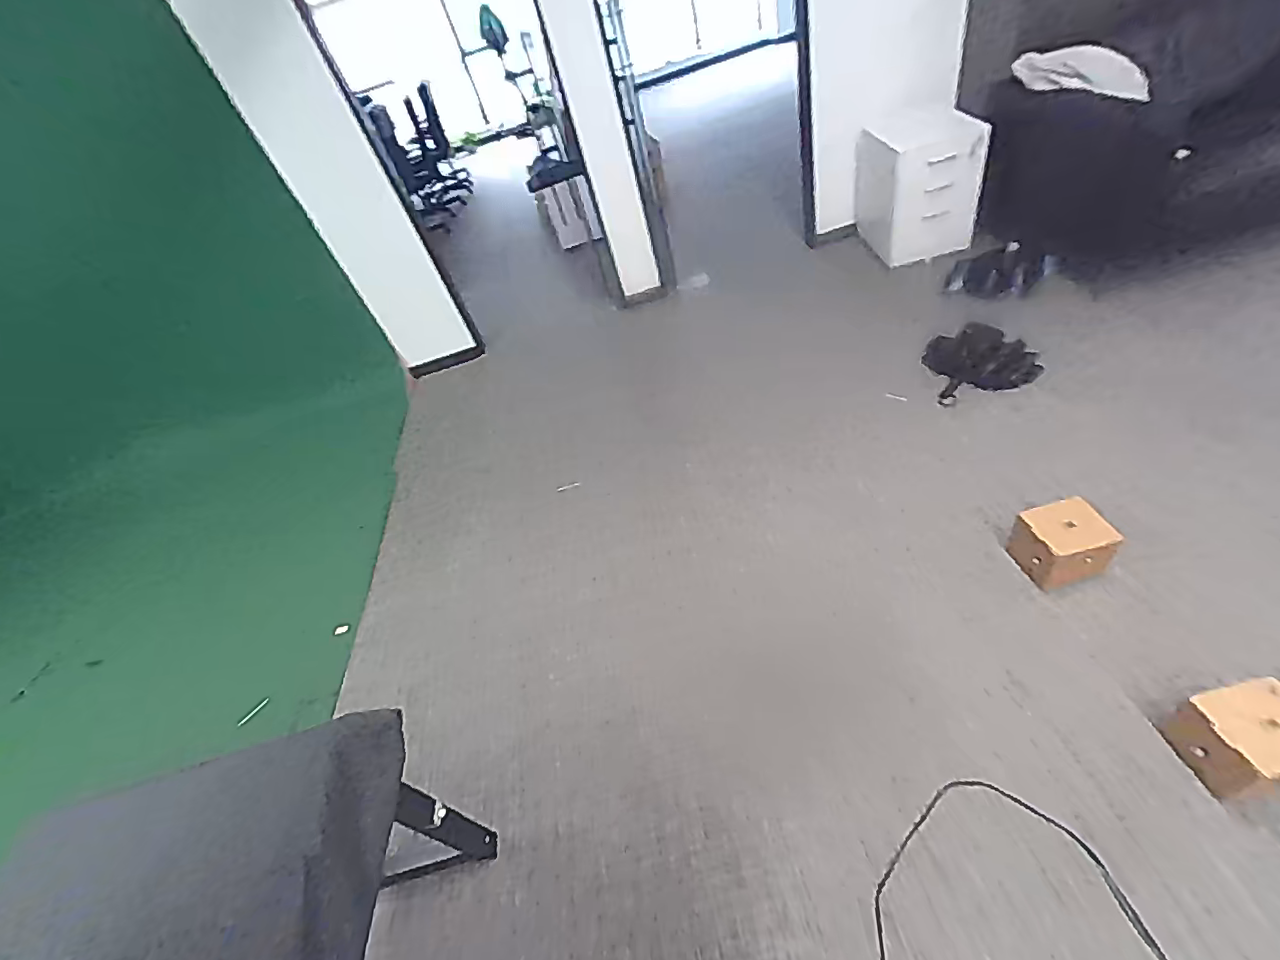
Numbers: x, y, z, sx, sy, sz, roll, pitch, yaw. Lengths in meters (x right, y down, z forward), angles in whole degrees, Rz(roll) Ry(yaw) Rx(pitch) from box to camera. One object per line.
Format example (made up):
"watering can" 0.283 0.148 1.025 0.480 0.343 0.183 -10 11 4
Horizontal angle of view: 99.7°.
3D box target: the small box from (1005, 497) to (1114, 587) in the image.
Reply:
"small box" 1.184 0.181 1.549 0.179 0.176 0.168 -17 43 2

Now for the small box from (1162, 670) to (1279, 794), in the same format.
"small box" 1.269 0.536 1.142 0.179 0.176 0.168 -17 42 4
